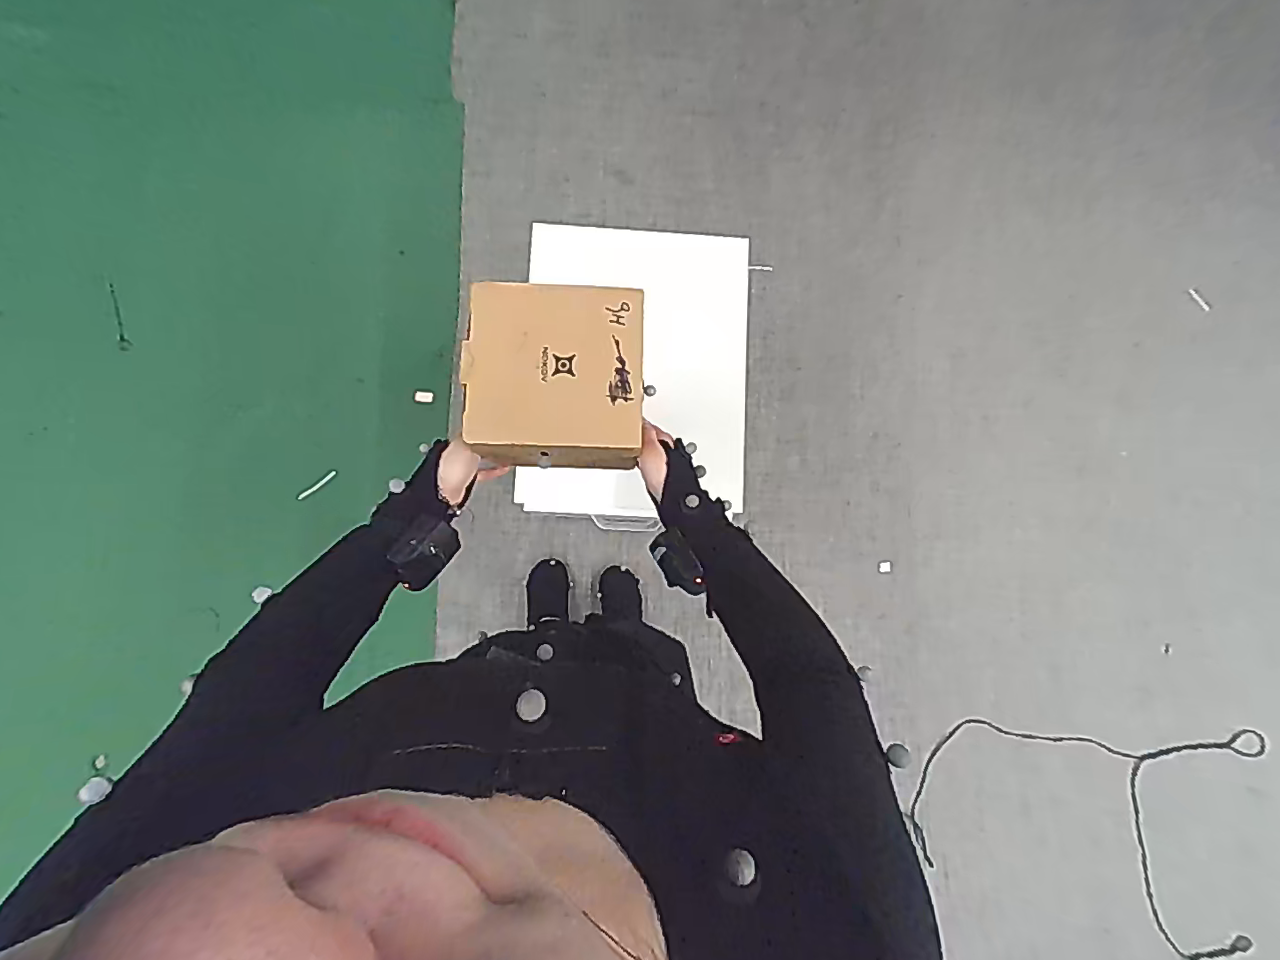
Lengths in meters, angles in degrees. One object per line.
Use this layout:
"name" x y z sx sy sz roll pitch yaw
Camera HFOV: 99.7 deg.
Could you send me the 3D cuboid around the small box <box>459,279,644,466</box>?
"small box" -0.087 -0.108 0.607 0.179 0.176 0.168 1 85 -2
